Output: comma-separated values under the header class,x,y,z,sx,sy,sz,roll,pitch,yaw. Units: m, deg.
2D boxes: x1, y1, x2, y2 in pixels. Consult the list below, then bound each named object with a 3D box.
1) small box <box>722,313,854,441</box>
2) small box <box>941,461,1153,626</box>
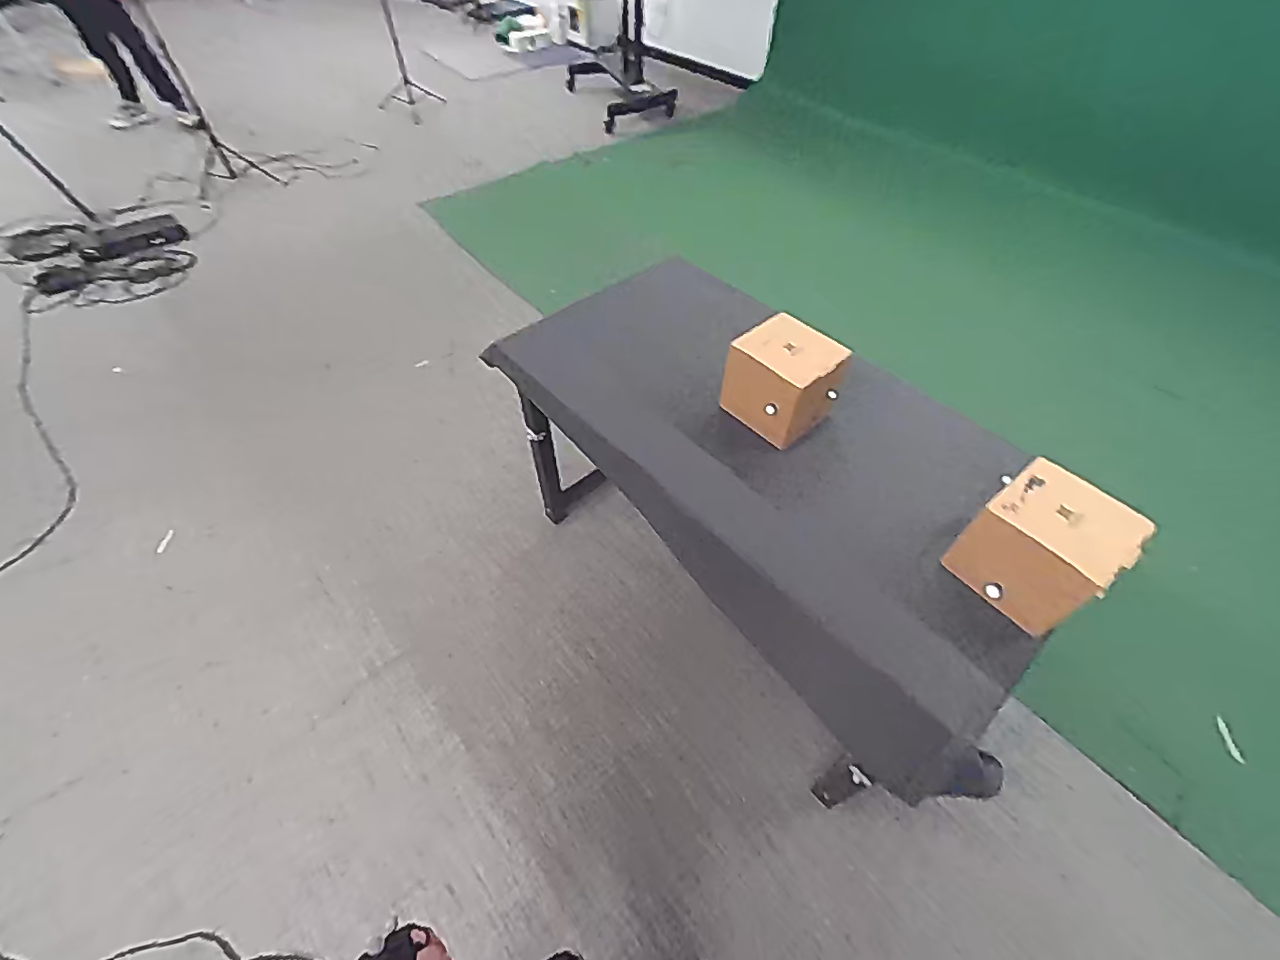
class,x,y,z,sx,sy,sz,roll,pitch,yaw
small box,0.291,-0.201,1.097,0.168,0.176,0.179,-34,59,-26
small box,0.632,0.110,0.861,0.168,0.176,0.179,-31,59,-23
